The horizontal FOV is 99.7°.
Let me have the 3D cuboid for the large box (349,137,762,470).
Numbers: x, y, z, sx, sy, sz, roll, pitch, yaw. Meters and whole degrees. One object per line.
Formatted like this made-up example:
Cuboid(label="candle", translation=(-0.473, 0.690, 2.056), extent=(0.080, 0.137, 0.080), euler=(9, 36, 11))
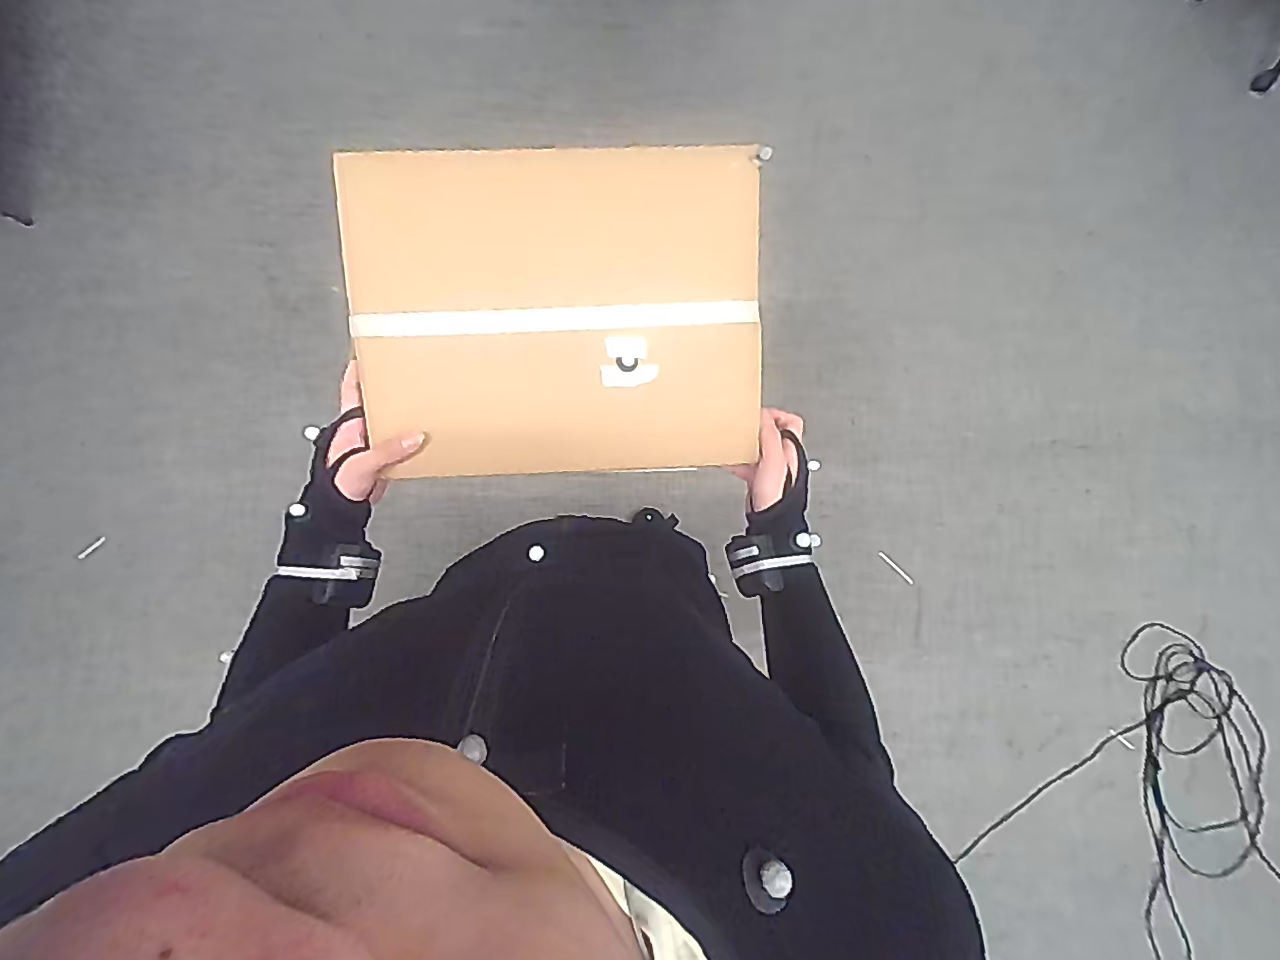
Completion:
Cuboid(label="large box", translation=(-0.083, -0.200, 0.695), extent=(0.408, 0.320, 0.320), euler=(-3, 101, -3))
